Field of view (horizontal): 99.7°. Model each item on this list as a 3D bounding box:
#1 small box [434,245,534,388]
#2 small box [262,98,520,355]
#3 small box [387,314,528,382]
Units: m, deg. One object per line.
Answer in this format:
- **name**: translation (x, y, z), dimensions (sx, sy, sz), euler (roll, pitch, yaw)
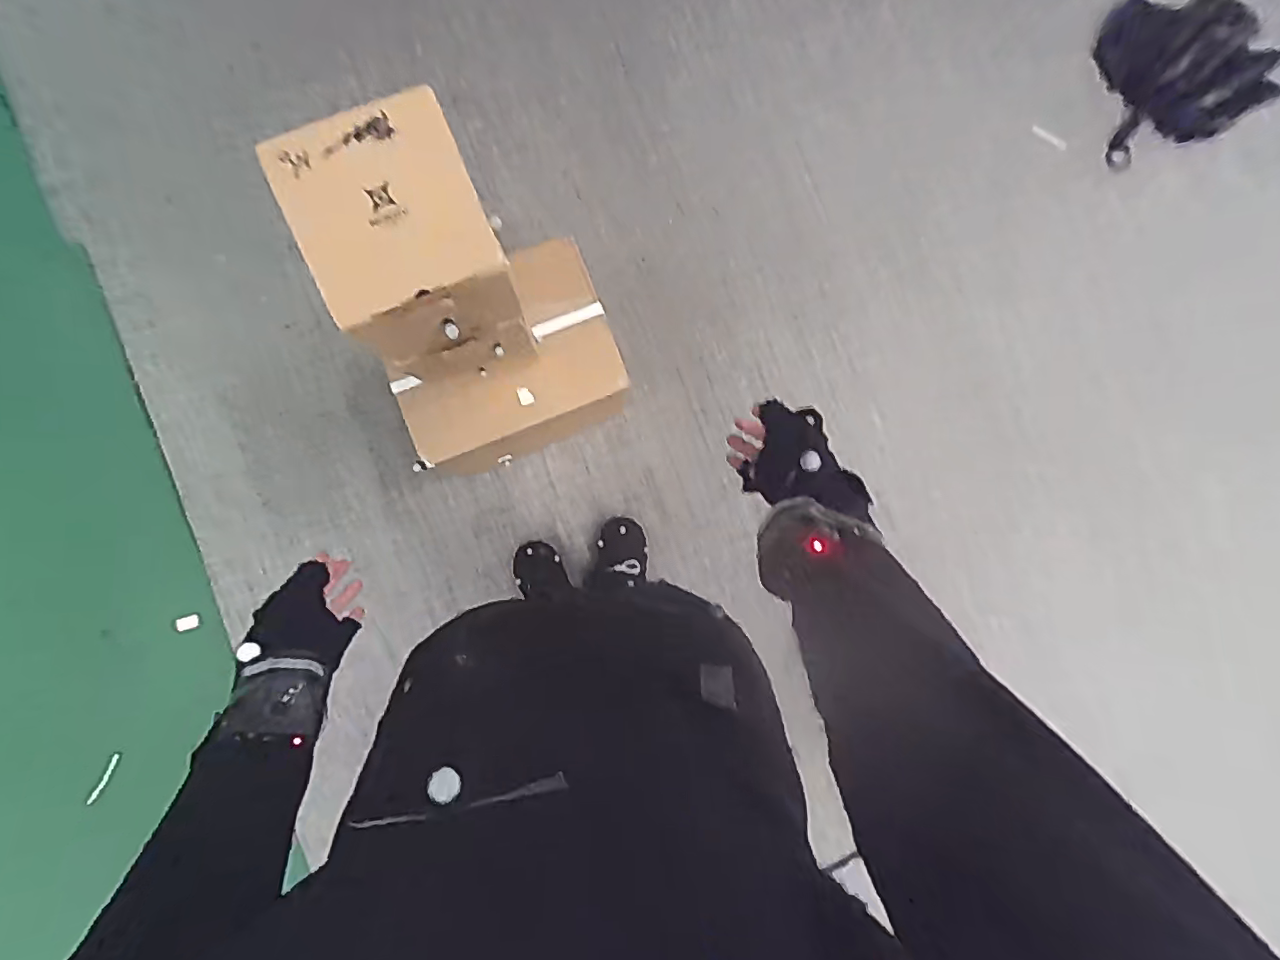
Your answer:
- **small box**: translation (-0.280, -0.260, 0.894), dimensions (0.179, 0.176, 0.168), euler (-15, 92, -5)
- **small box**: translation (-0.239, -0.244, 0.574), dimensions (0.168, 0.176, 0.179), euler (-23, 95, -5)
- **small box**: translation (-0.263, -0.244, 0.736), dimensions (0.168, 0.176, 0.179), euler (-24, 94, -5)
